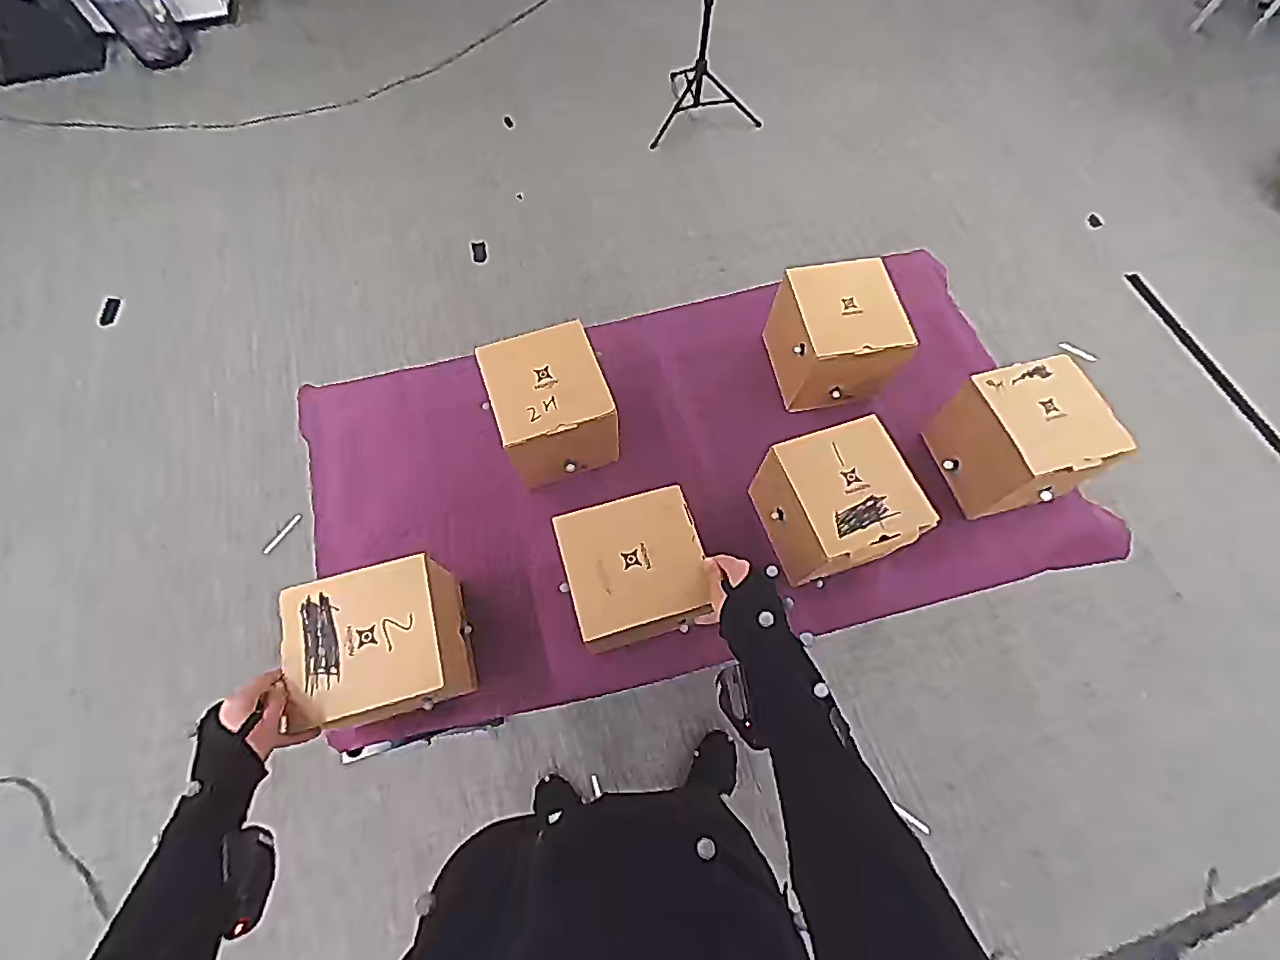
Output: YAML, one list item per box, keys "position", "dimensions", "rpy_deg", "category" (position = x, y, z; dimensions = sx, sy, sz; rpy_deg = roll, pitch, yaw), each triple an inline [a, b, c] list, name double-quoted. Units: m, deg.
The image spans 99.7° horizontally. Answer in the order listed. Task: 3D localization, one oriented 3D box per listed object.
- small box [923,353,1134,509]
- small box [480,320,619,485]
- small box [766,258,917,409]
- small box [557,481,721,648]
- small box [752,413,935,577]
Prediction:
- position: [0.588, -0.066, 0.848]
  dimensions: [0.168, 0.176, 0.179]
  rpy_deg: [-13, 66, -6]
  category: "small box"
- position: [-0.138, -0.117, 0.860]
  dimensions: [0.168, 0.176, 0.179]
  rpy_deg: [-18, 69, -9]
  category: "small box"
- position: [0.329, -0.245, 0.925]
  dimensions: [0.168, 0.176, 0.179]
  rpy_deg: [-10, 69, -5]
  category: "small box"
- position: [-0.007, 0.124, 0.756]
  dimensions: [0.179, 0.176, 0.168]
  rpy_deg: [-15, 67, -8]
  category: "small box"
- position: [0.284, 0.033, 0.801]
  dimensions: [0.168, 0.176, 0.179]
  rpy_deg: [-17, 67, -8]
  category: "small box"
